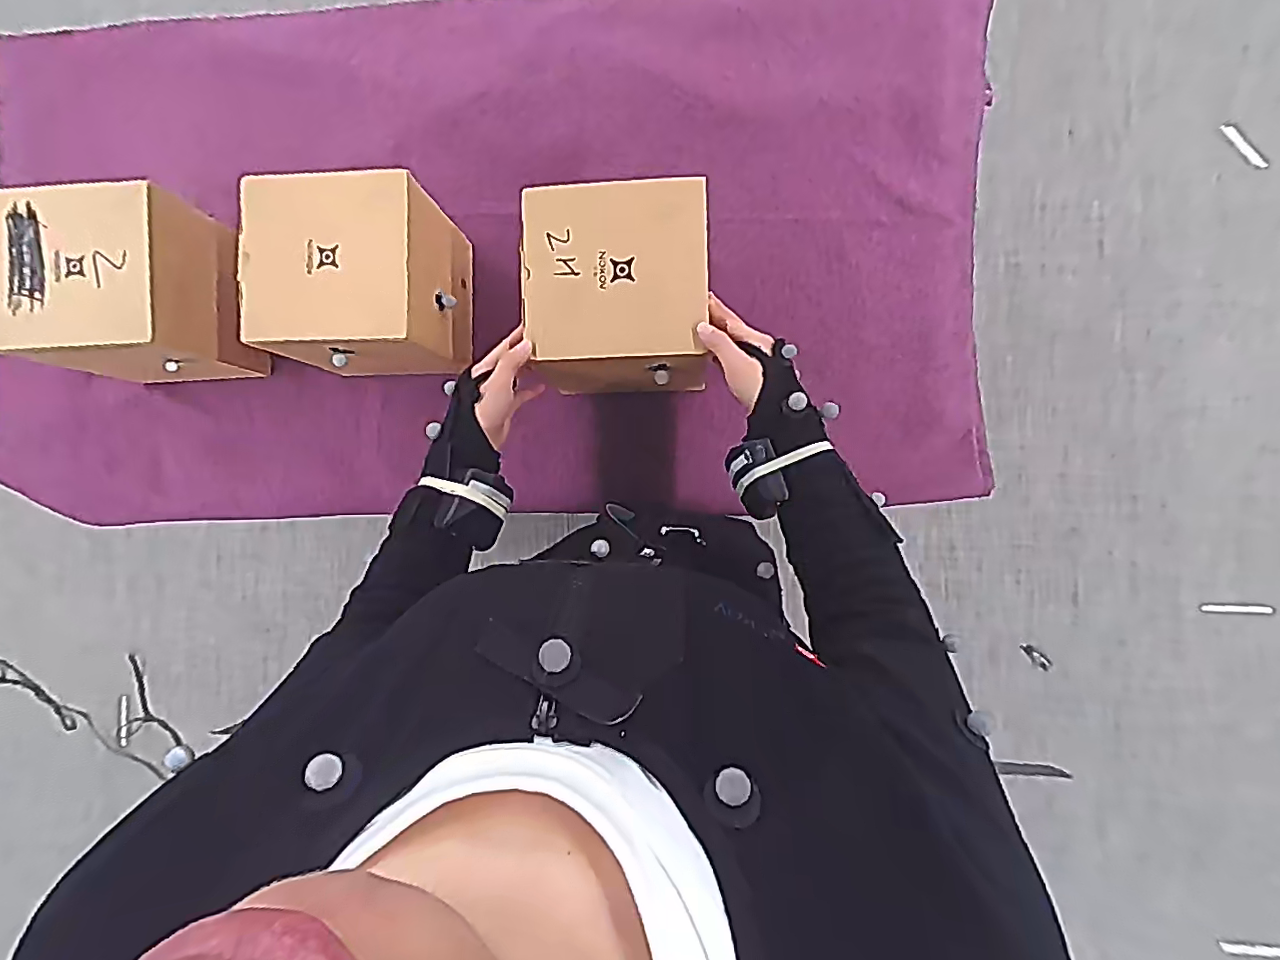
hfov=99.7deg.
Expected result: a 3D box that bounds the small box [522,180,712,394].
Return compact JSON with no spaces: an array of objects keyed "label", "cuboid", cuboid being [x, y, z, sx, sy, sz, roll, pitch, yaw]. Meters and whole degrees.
[{"label":"small box","cuboid":[-0.017,-0.189,0.575,0.179,0.176,0.168,-1,88,5]}]

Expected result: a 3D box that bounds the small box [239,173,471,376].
[{"label":"small box","cuboid":[-0.301,-0.214,0.605,0.179,0.176,0.168,0,90,5]}]
